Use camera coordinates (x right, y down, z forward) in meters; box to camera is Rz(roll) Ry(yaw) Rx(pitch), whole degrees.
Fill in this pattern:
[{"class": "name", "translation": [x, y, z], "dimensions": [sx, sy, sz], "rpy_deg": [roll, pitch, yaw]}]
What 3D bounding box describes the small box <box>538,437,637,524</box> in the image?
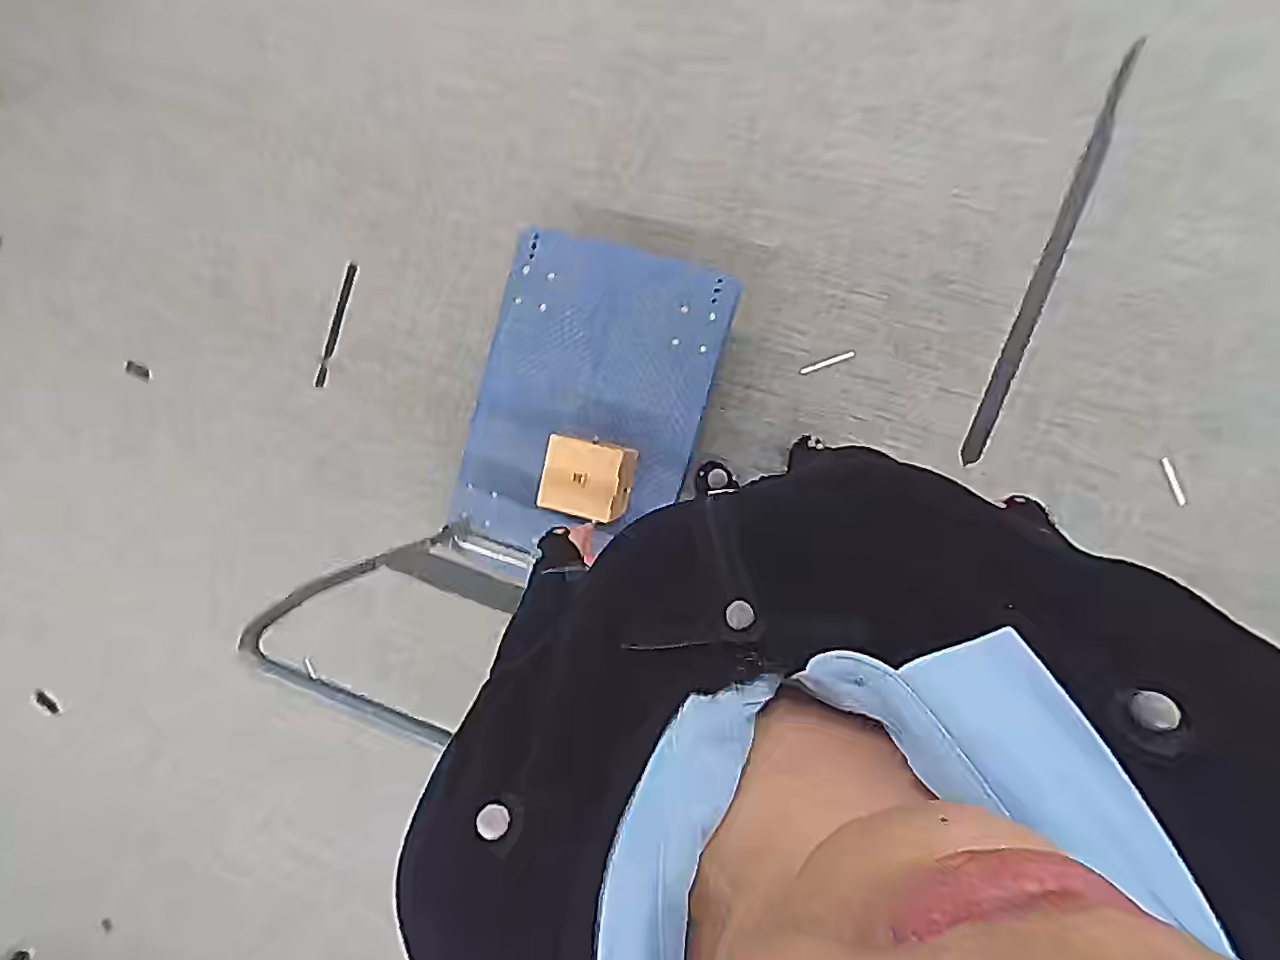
[{"class": "small box", "translation": [-0.119, -0.002, 1.287], "dimensions": [0.179, 0.176, 0.168], "rpy_deg": [13, 95, 9]}]
